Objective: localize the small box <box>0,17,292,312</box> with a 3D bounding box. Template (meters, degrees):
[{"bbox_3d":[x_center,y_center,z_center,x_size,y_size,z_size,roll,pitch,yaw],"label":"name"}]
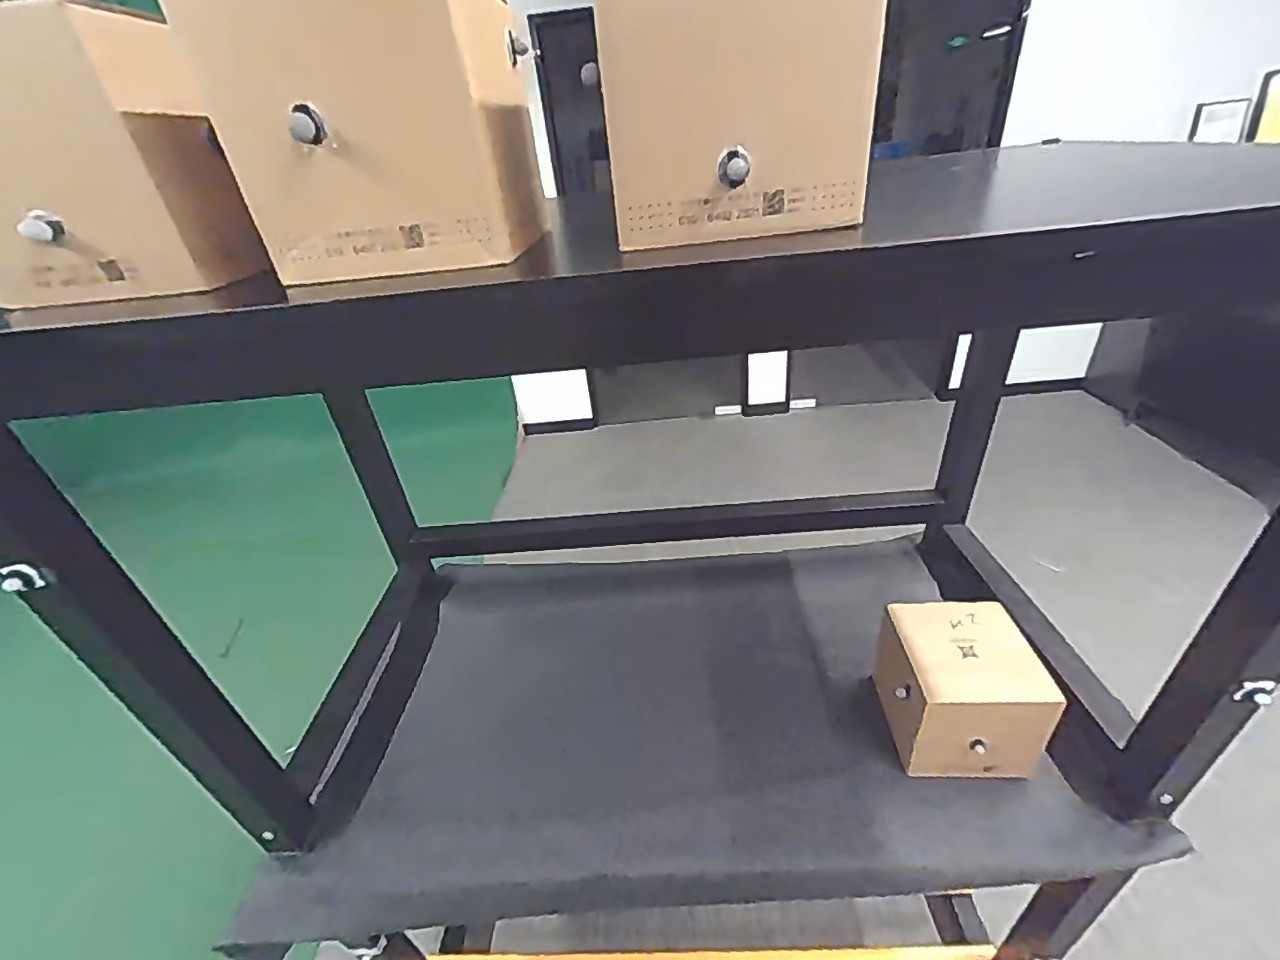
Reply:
[{"bbox_3d":[-0.404,-0.243,0.437,0.168,0.176,0.179,-4,33,4],"label":"small box"}]

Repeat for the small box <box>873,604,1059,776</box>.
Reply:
[{"bbox_3d":[0.452,0.303,0.784,0.168,0.176,0.179,-2,31,7],"label":"small box"}]

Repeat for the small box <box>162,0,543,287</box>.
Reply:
[{"bbox_3d":[-0.180,-0.250,0.411,0.168,0.176,0.179,-4,31,5],"label":"small box"}]
